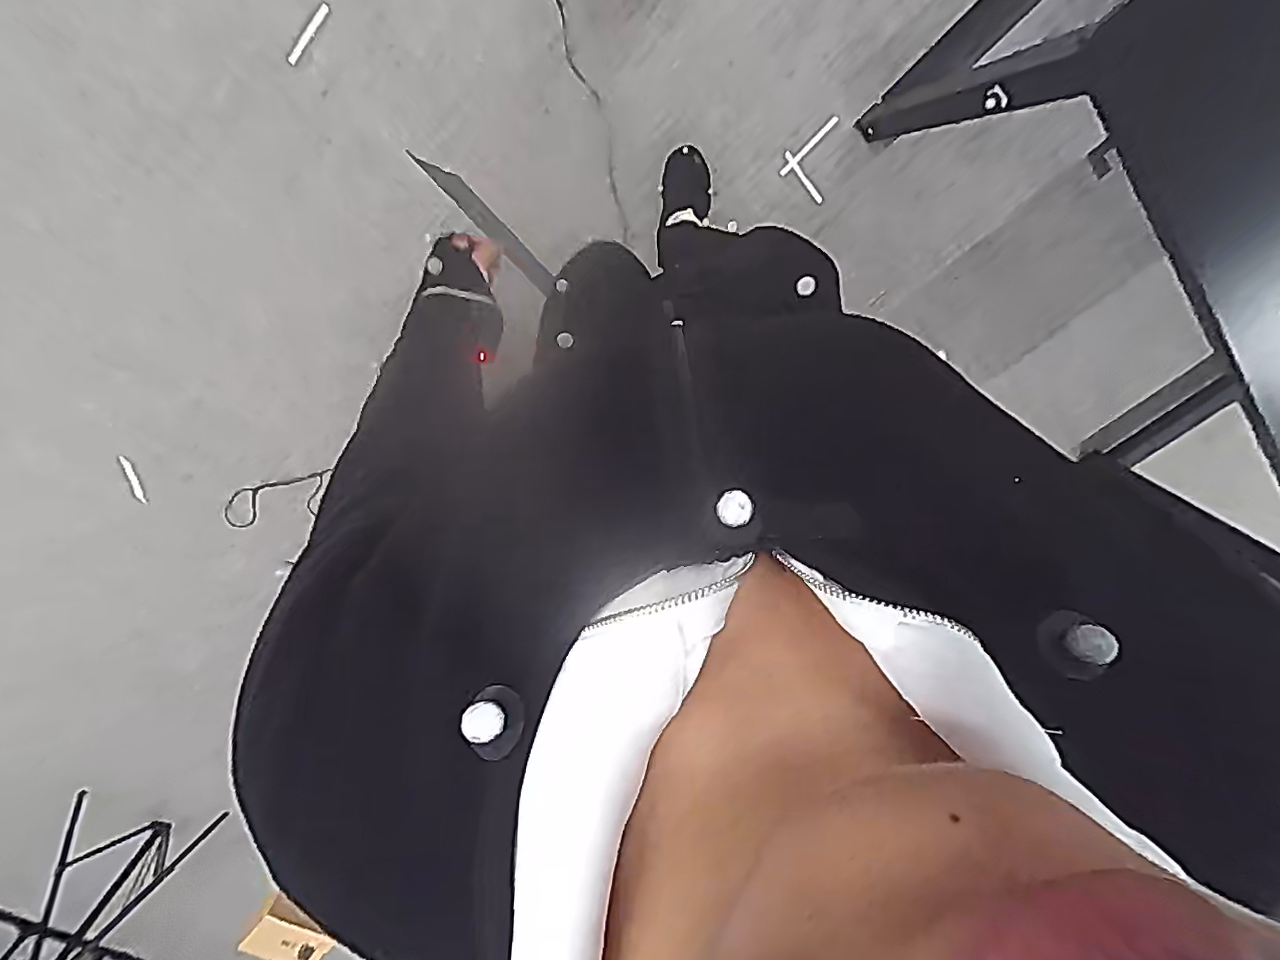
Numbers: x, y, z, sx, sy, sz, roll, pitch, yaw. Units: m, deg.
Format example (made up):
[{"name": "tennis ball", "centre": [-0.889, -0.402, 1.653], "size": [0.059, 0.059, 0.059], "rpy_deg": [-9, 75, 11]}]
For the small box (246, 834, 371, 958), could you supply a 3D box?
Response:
[{"name": "small box", "centre": [-0.799, 1.011, 1.323], "size": [0.179, 0.176, 0.168], "rpy_deg": [35, 108, -16]}]
